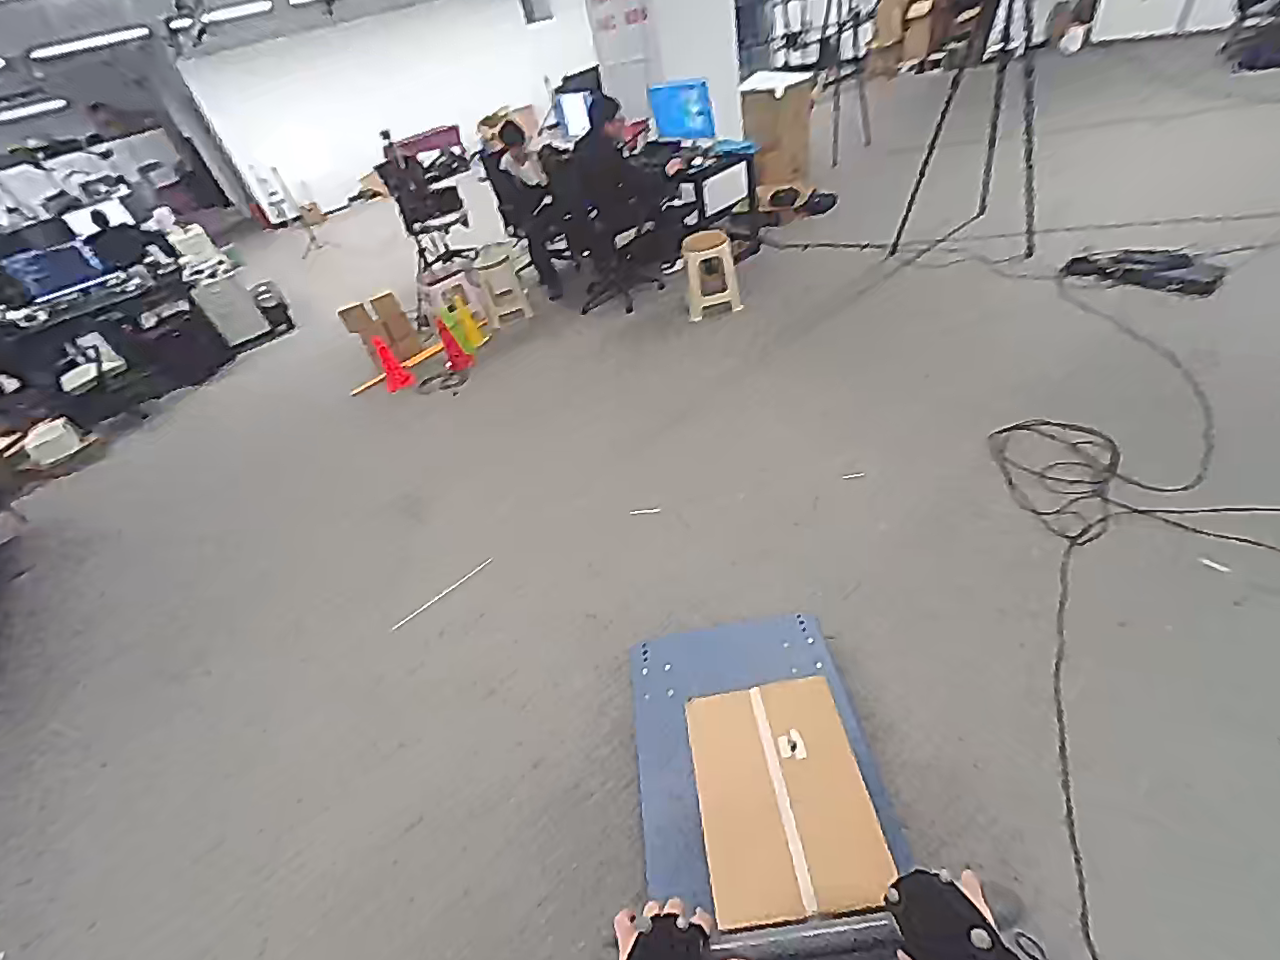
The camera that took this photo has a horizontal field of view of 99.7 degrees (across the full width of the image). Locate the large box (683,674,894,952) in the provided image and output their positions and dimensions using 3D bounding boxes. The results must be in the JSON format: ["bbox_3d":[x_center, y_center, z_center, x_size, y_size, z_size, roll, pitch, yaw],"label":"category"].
[{"bbox_3d":[0.295,0.699,1.152,0.320,0.320,0.408,-12,39,4],"label":"large box"}]
